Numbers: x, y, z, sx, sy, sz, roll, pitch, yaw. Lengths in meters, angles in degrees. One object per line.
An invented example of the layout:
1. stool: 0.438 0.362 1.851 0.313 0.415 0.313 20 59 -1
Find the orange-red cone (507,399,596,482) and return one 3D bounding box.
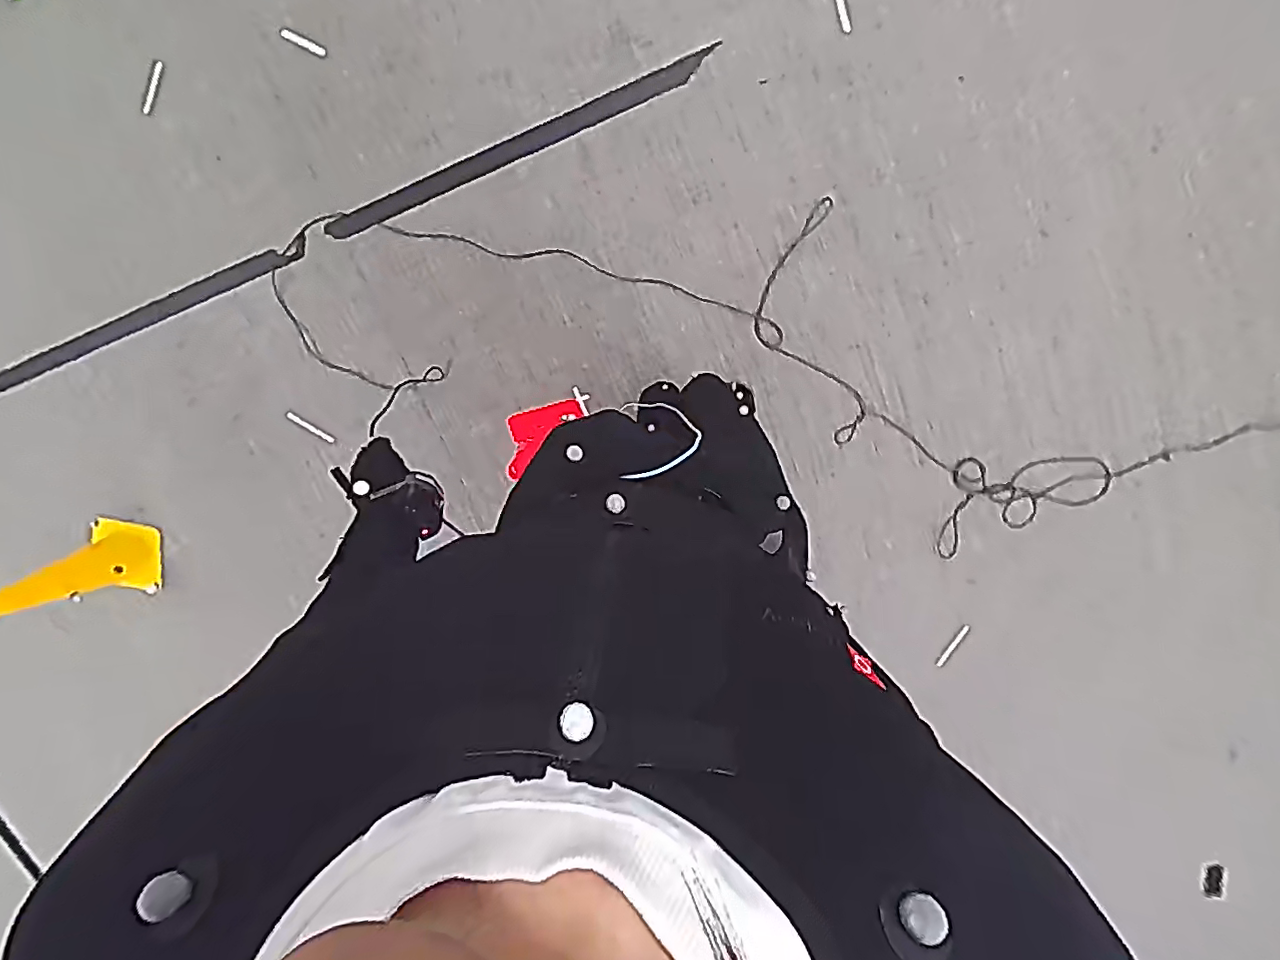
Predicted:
1. orange-red cone: -0.238 -0.064 1.254 0.199 0.360 0.198 -13 101 7
